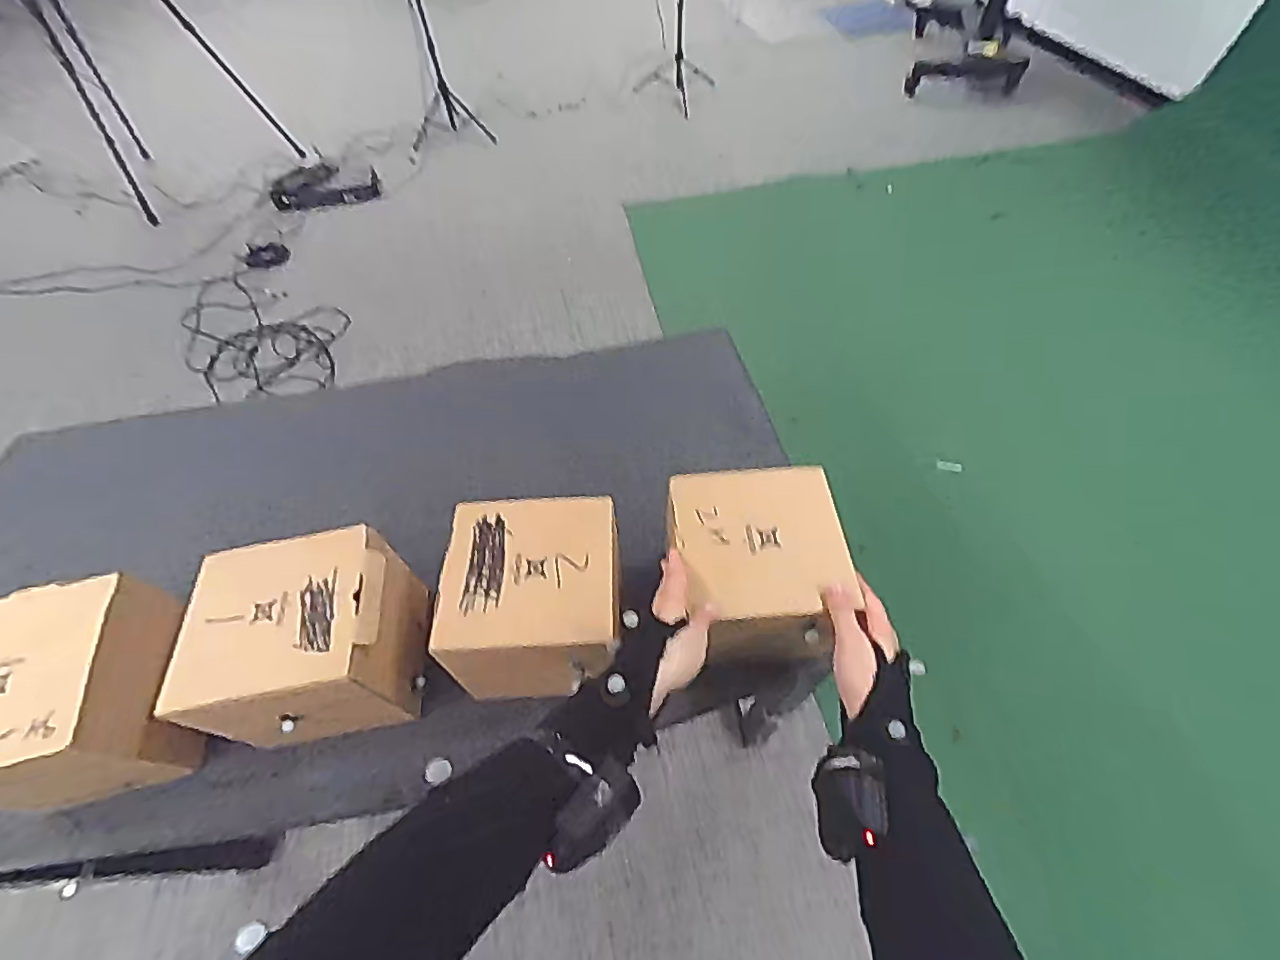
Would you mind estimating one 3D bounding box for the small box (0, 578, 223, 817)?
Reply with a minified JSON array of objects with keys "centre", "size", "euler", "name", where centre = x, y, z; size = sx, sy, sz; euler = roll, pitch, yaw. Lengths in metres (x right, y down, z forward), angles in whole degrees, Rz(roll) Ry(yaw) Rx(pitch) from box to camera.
[{"centre":[-0.588,0.232,0.571],"size":[0.168,0.176,0.179],"euler":[-13,55,-6],"name":"small box"}]
